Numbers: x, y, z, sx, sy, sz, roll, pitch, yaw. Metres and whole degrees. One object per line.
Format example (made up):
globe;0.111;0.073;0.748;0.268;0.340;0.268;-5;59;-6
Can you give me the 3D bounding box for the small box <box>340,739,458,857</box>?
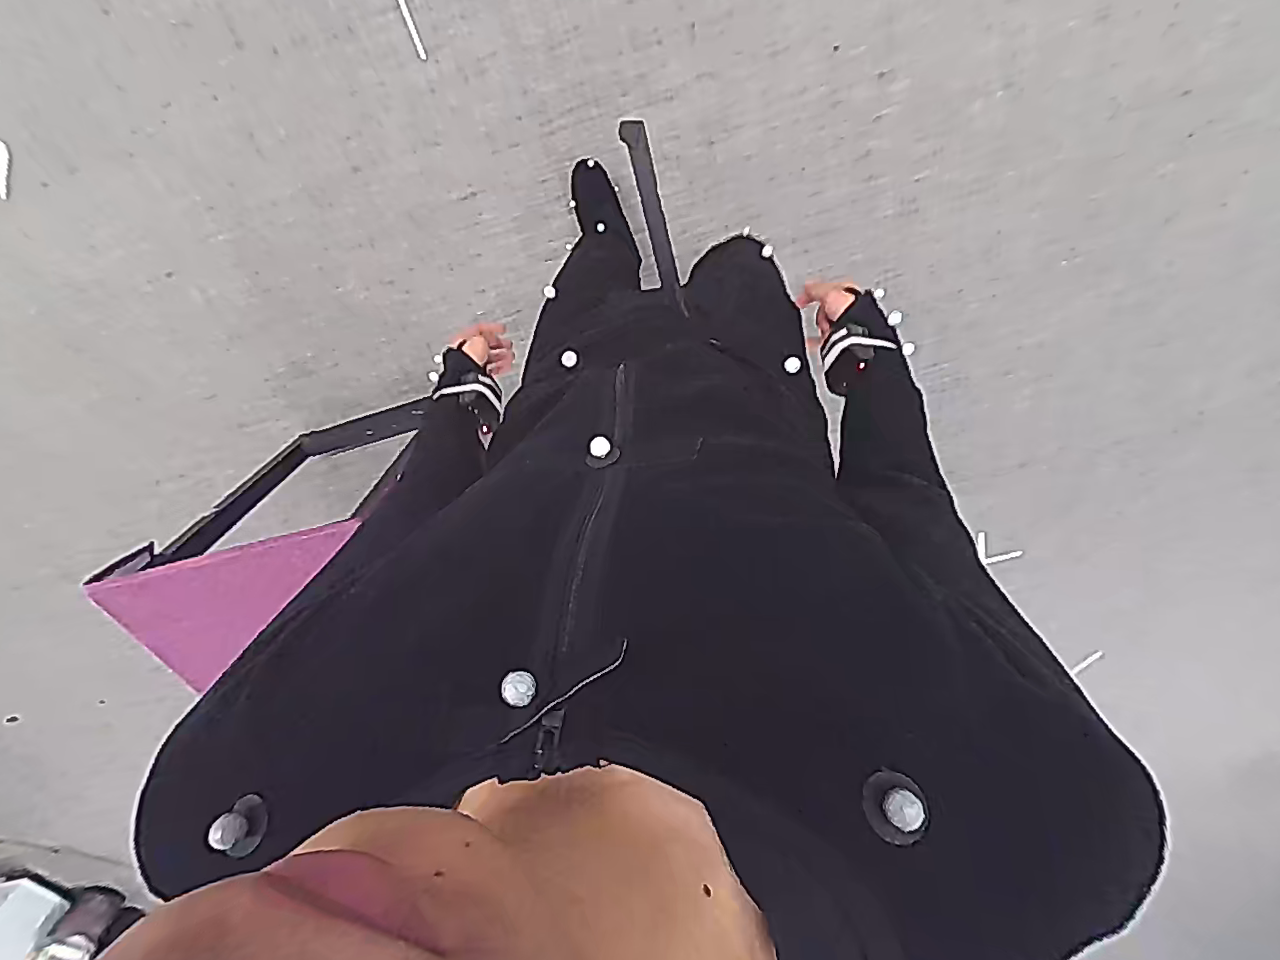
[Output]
small box;-0.556;0.749;1.282;0.179;0.176;0.168;-26;117;15
